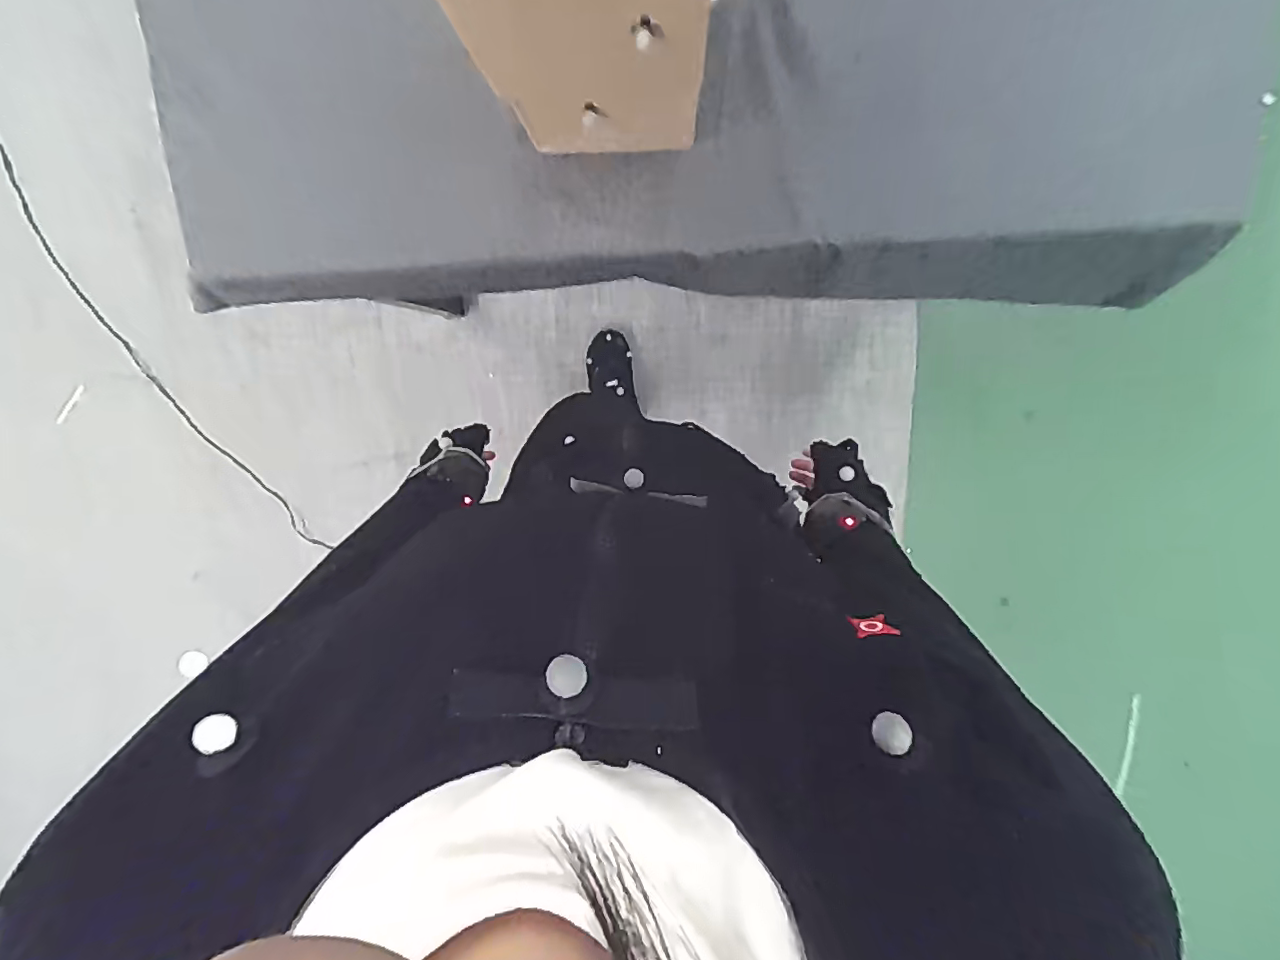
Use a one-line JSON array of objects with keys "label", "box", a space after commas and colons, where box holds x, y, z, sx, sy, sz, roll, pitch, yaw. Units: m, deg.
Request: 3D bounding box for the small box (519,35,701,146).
[{"label": "small box", "box": [-0.035, -0.447, 0.521, 0.179, 0.176, 0.168, -3, 100, 2]}]

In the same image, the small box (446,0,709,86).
[{"label": "small box", "box": [-0.042, -0.390, 0.348, 0.179, 0.176, 0.168, -4, 101, 3]}]
